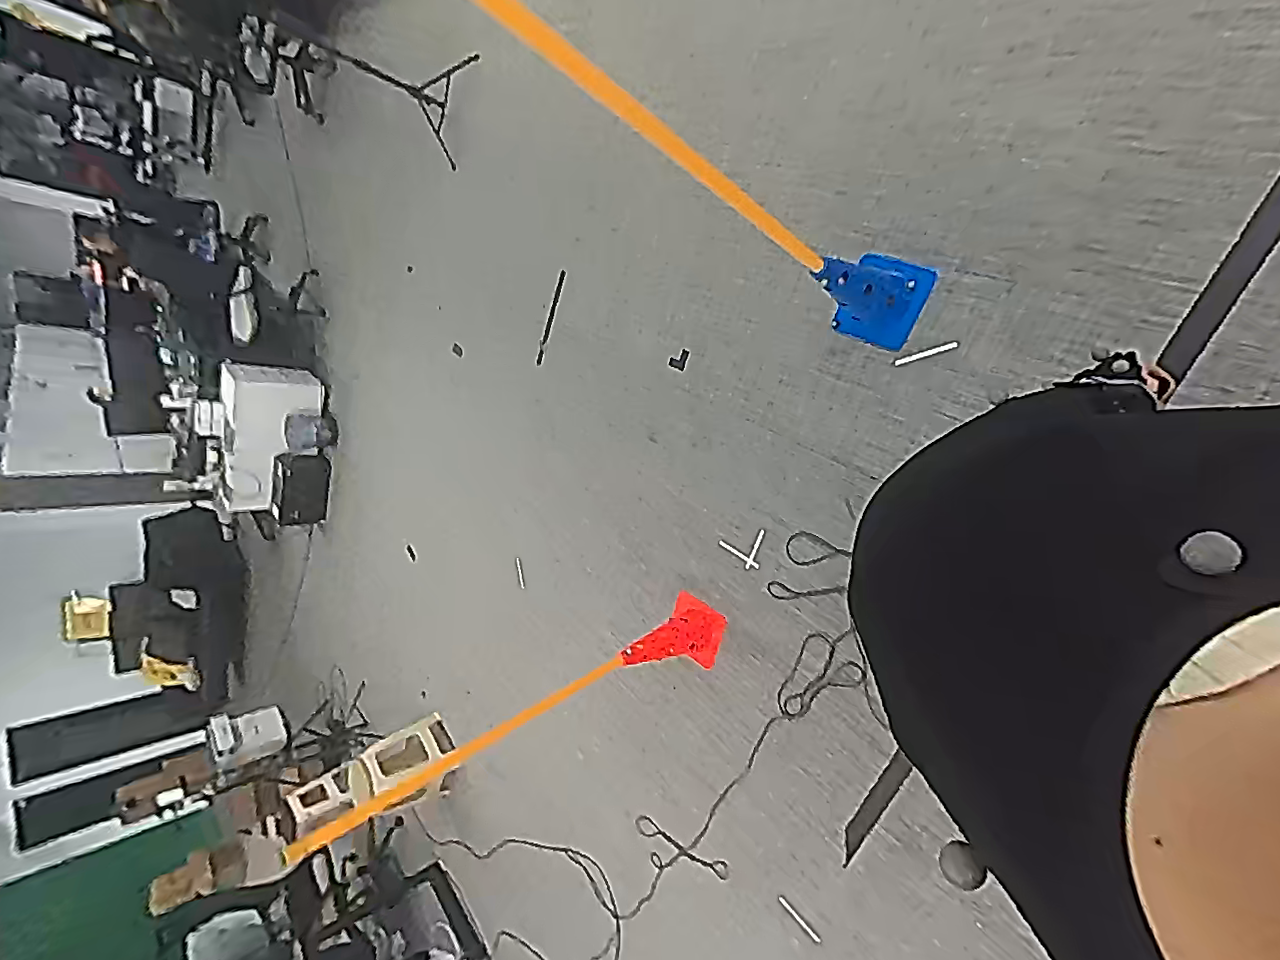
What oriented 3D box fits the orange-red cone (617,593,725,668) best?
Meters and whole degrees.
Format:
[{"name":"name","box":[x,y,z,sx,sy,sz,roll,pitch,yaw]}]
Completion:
[{"name":"orange-red cone","box":[0.069,0.503,1.656,0.199,0.360,0.198,28,112,38]}]

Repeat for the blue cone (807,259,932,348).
[{"name":"blue cone","box":[0.485,-0.430,1.220,0.193,0.380,0.192,37,118,36]}]
